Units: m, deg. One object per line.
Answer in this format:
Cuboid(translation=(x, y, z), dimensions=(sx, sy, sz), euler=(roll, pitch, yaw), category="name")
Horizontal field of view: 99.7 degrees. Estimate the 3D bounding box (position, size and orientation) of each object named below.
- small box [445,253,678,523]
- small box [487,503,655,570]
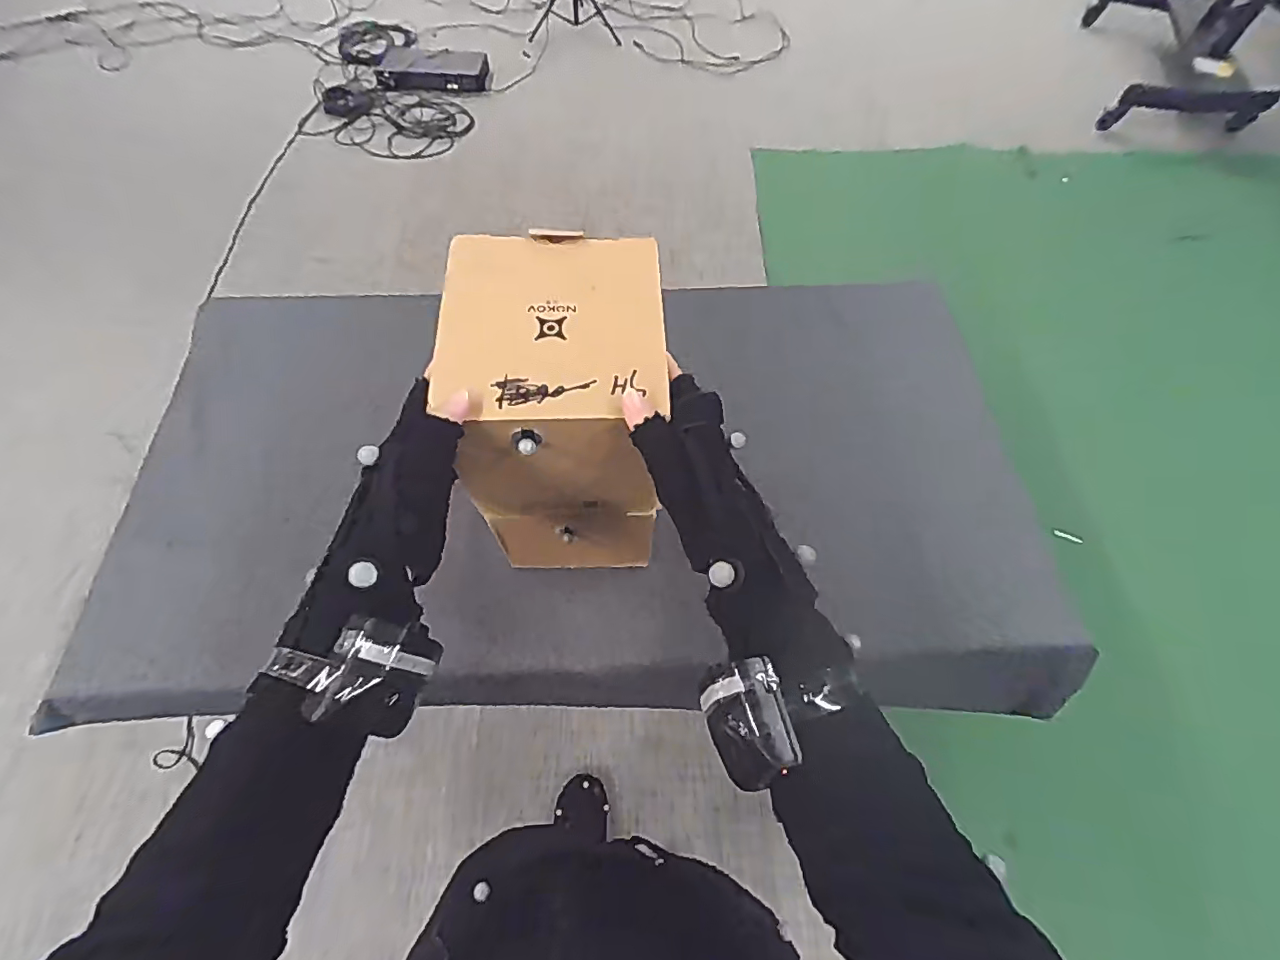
Cuboid(translation=(-0.065, -0.076, 0.485), dimensions=(0.168, 0.176, 0.179), euler=(-3, 64, -5), category="small box")
Cuboid(translation=(-0.073, 0.007, 0.662), dimensions=(0.179, 0.176, 0.168), euler=(0, 62, -2), category="small box")
